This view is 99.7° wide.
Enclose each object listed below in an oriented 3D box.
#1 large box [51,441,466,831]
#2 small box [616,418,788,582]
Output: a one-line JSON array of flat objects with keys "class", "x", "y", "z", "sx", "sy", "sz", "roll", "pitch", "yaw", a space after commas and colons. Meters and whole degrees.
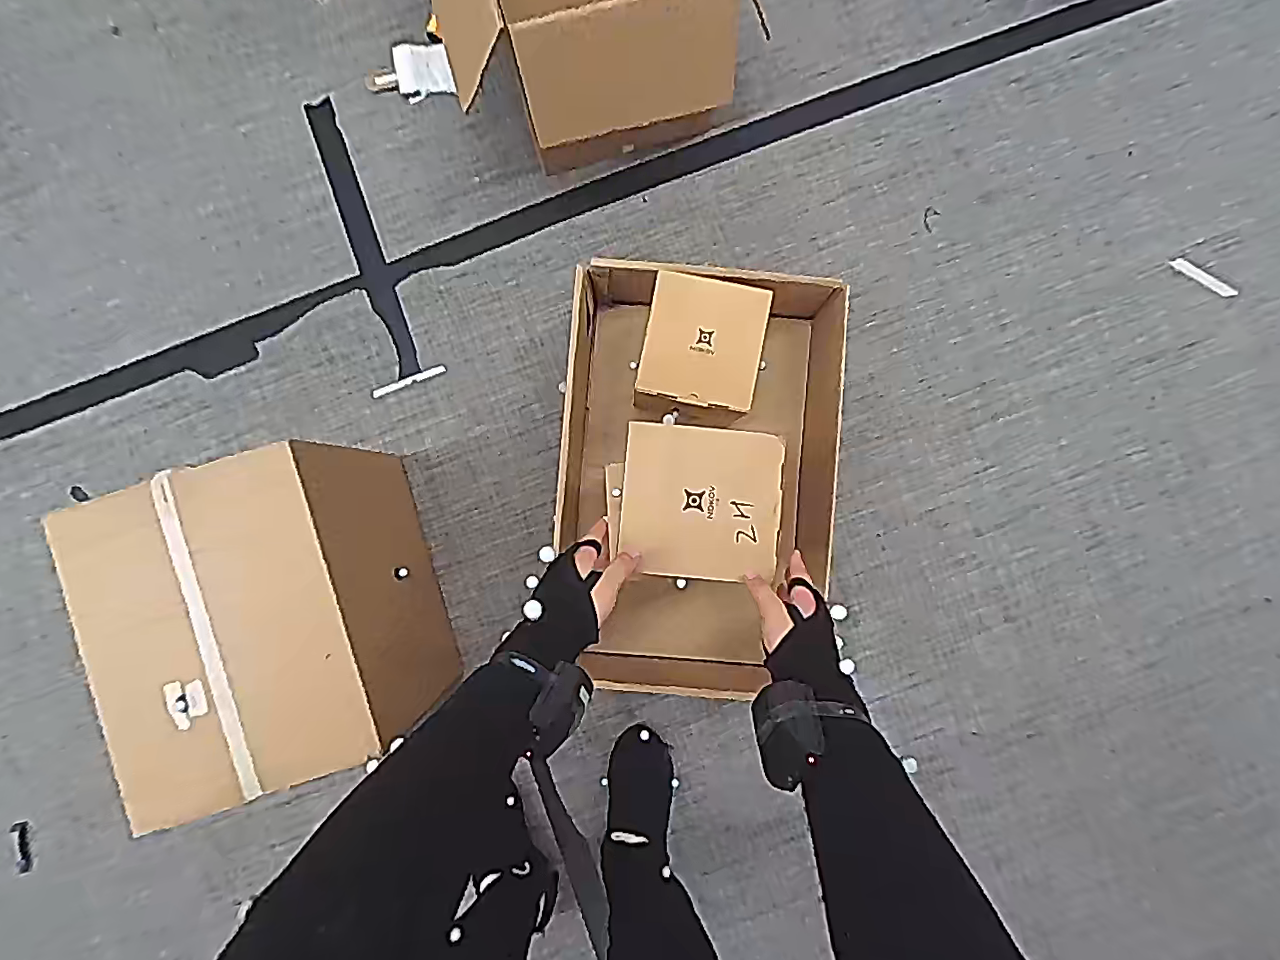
[{"class": "large box", "x": -0.503, "y": 0.187, "z": 0.797, "sx": 0.320, "sy": 0.320, "sz": 0.408, "roll": -18, "pitch": 89, "yaw": 0}, {"class": "small box", "x": 0.067, "y": 0.027, "z": 0.661, "sx": 0.179, "sy": 0.176, "sz": 0.168, "roll": 5, "pitch": 86, "yaw": -1}]
